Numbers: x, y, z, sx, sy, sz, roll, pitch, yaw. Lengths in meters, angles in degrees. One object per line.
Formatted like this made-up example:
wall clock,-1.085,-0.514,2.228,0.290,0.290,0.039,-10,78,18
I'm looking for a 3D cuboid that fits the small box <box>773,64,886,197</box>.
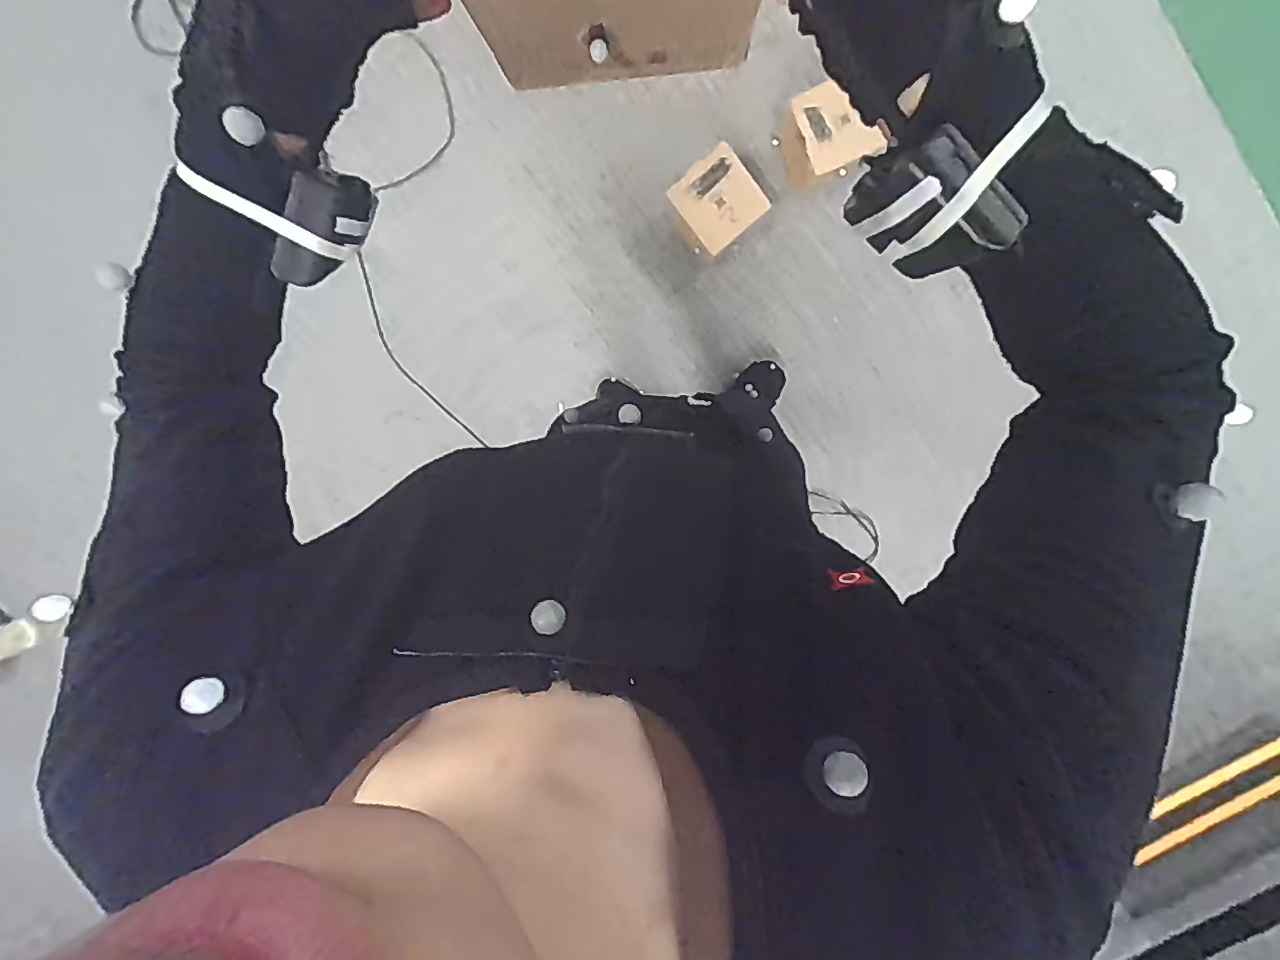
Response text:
small box,0.415,-0.773,1.220,0.179,0.176,0.168,-24,101,5
